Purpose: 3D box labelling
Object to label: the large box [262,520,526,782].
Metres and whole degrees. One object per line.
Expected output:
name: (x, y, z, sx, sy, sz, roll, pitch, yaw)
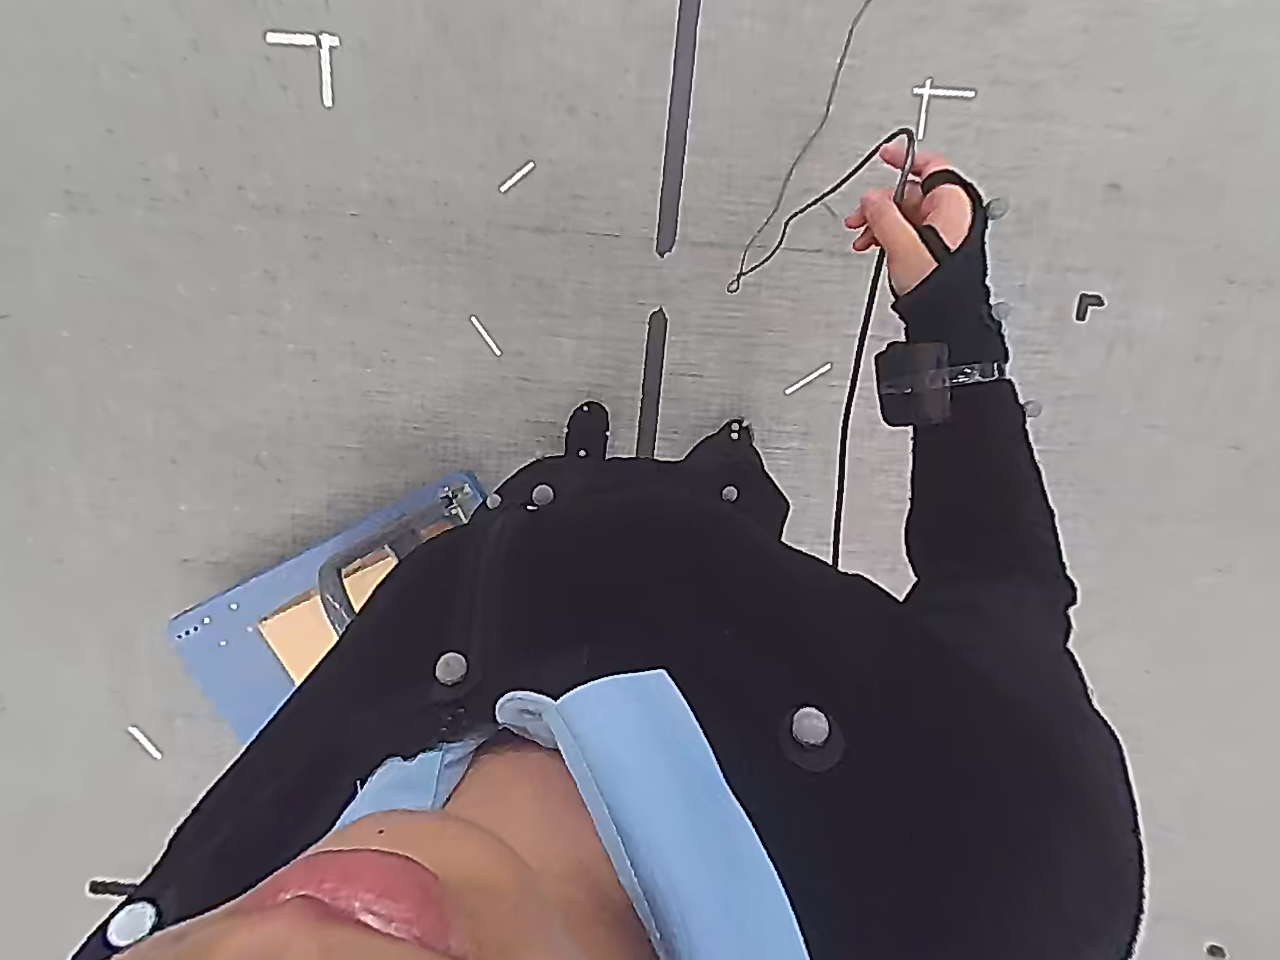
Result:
large box: (-0.509, 0.357, 1.212, 0.320, 0.320, 0.408, -27, 98, 3)
